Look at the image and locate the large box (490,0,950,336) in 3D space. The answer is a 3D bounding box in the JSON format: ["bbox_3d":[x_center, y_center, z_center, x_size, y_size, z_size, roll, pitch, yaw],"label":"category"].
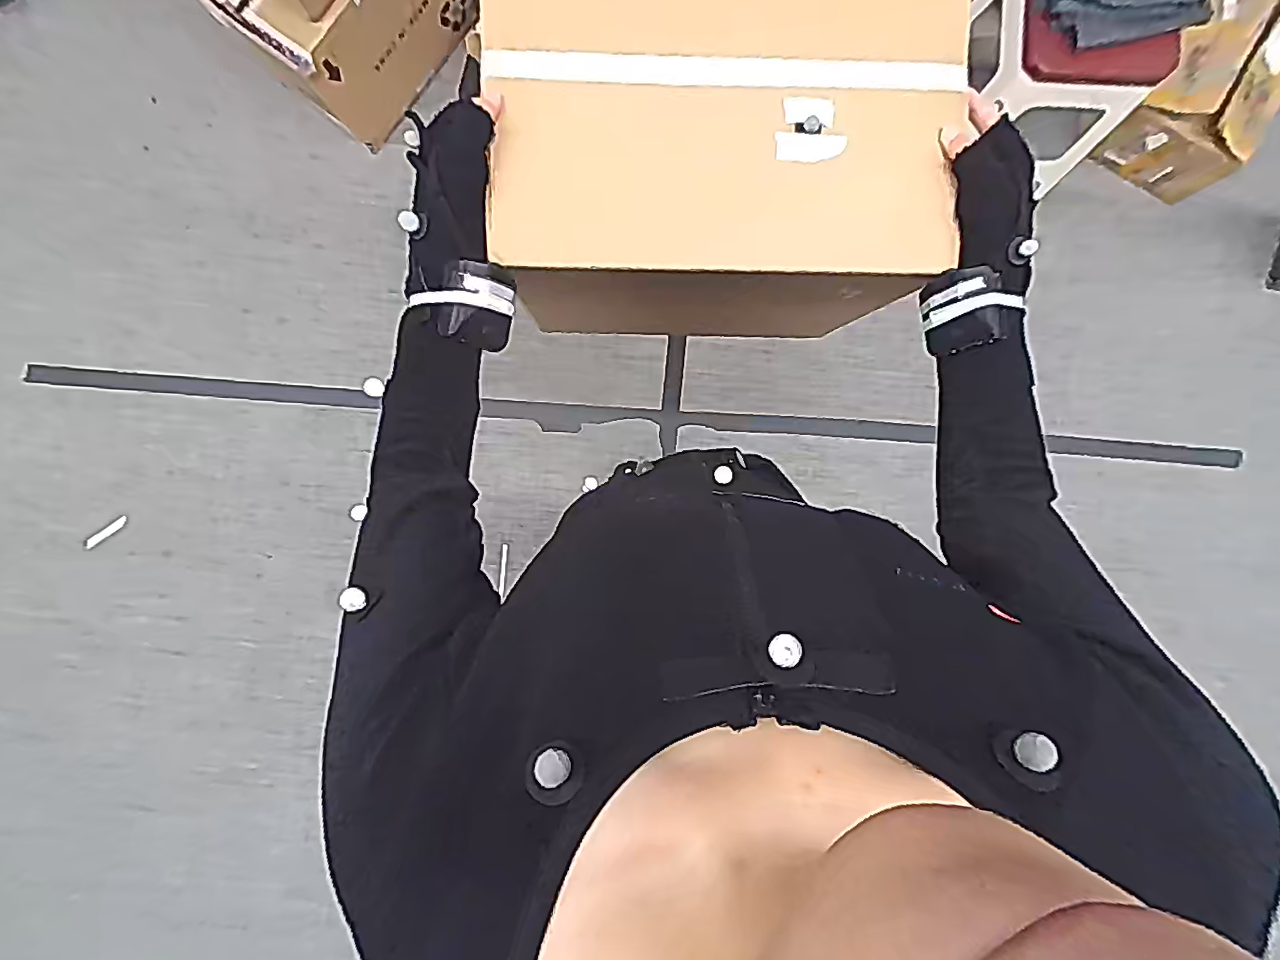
[{"bbox_3d":[0.064,-0.351,0.617,0.408,0.320,0.320,0,95,-3],"label":"large box"}]
